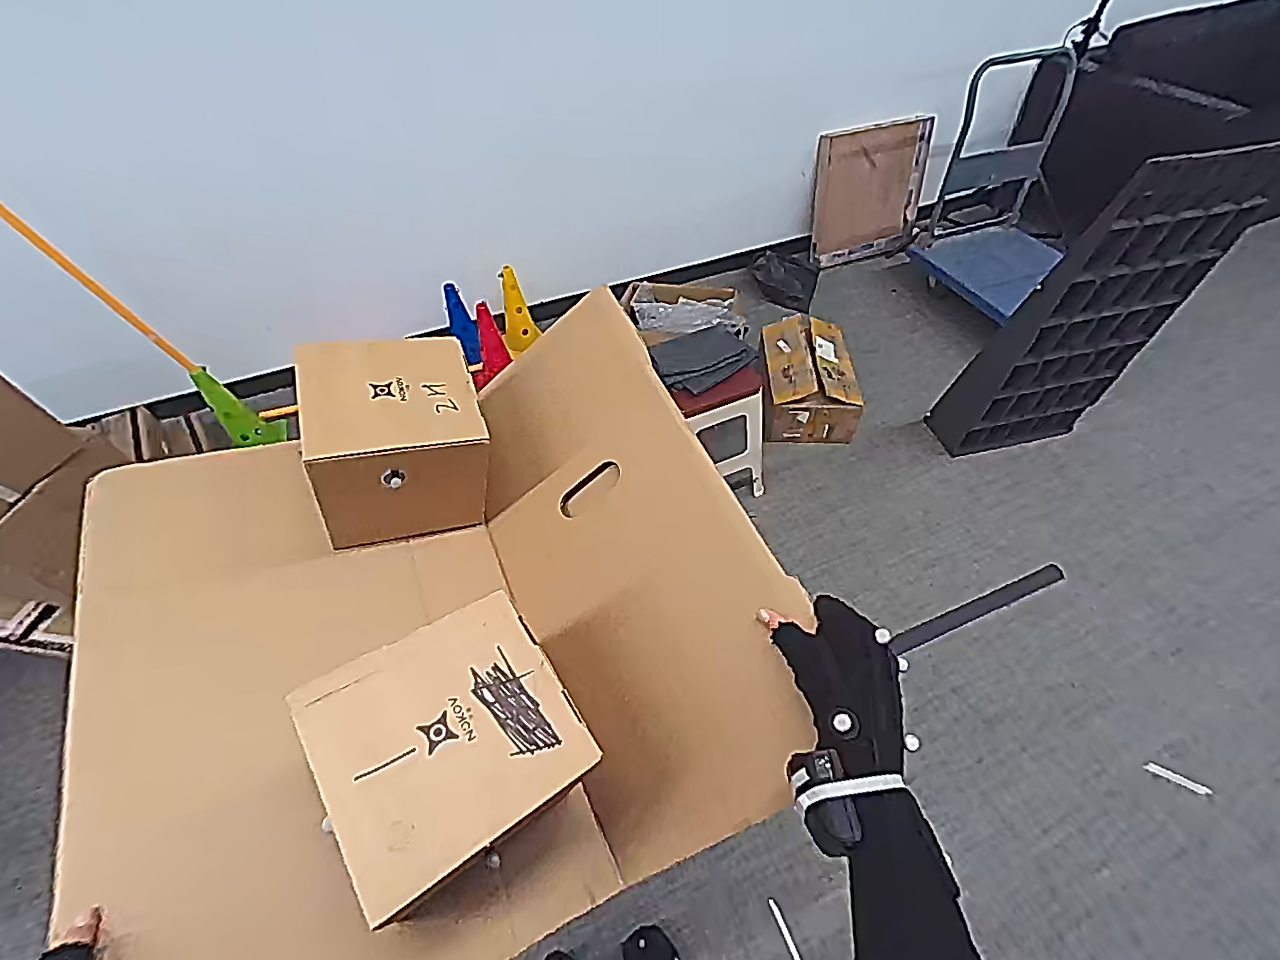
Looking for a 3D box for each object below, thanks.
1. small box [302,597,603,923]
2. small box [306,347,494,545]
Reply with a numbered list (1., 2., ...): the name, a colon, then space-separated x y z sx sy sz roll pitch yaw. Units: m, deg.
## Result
1. small box: -0.161 0.237 0.474 0.179 0.176 0.168 -23 63 -31
2. small box: -0.282 -0.039 0.648 0.179 0.176 0.168 -8 57 -25
